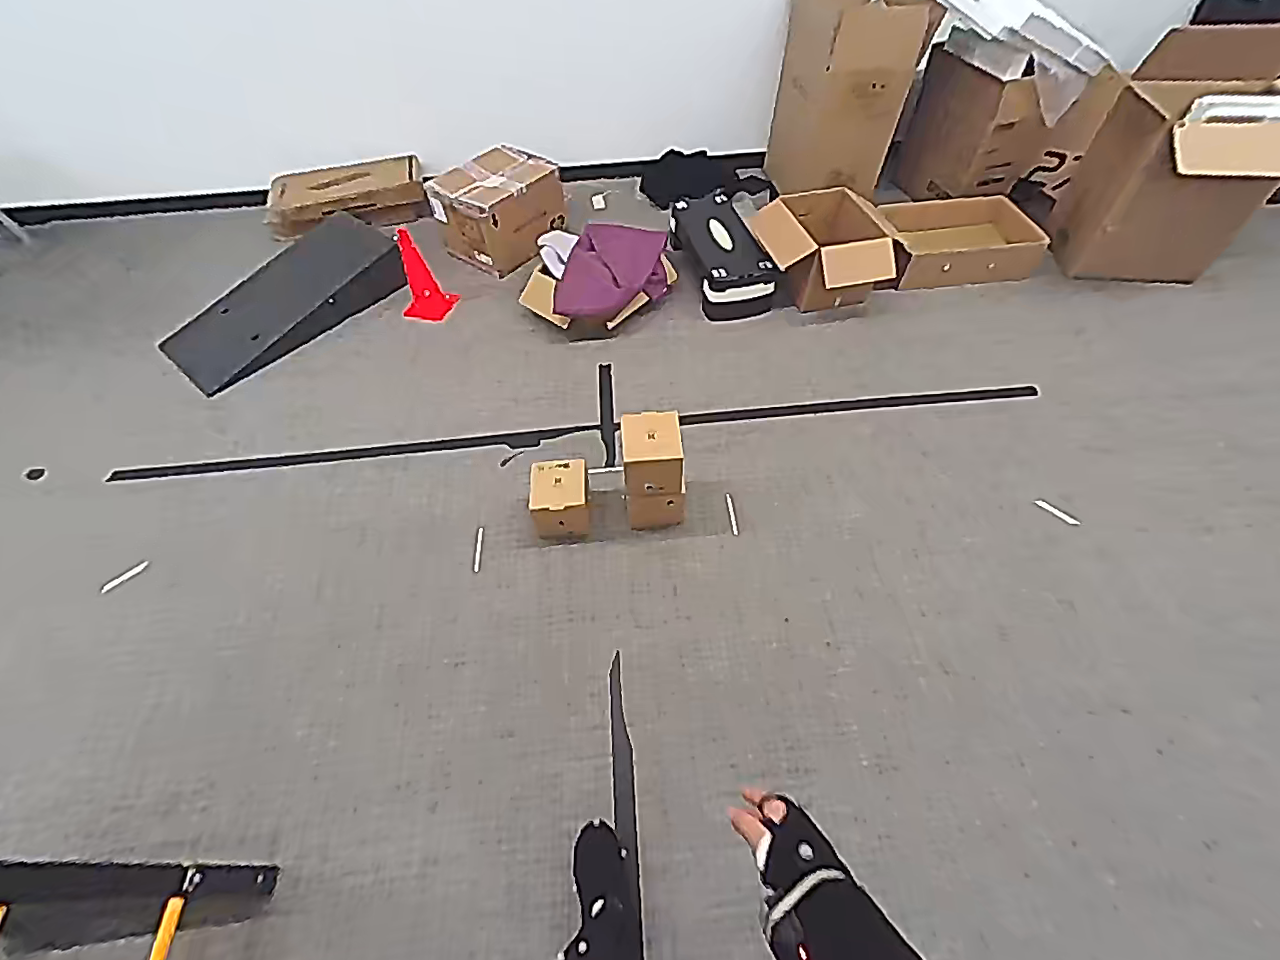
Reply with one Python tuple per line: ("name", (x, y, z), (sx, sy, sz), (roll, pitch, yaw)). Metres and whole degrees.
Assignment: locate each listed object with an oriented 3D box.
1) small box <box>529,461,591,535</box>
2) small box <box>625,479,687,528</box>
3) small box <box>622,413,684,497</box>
("small box", (-0.243, 0.062, 1.683), (0.168, 0.176, 0.179), (-4, 54, 0))
("small box", (0.044, 0.035, 1.694), (0.179, 0.176, 0.168), (-6, 54, -3))
("small box", (0.034, -0.071, 1.570), (0.168, 0.176, 0.179), (-5, 55, -1))
